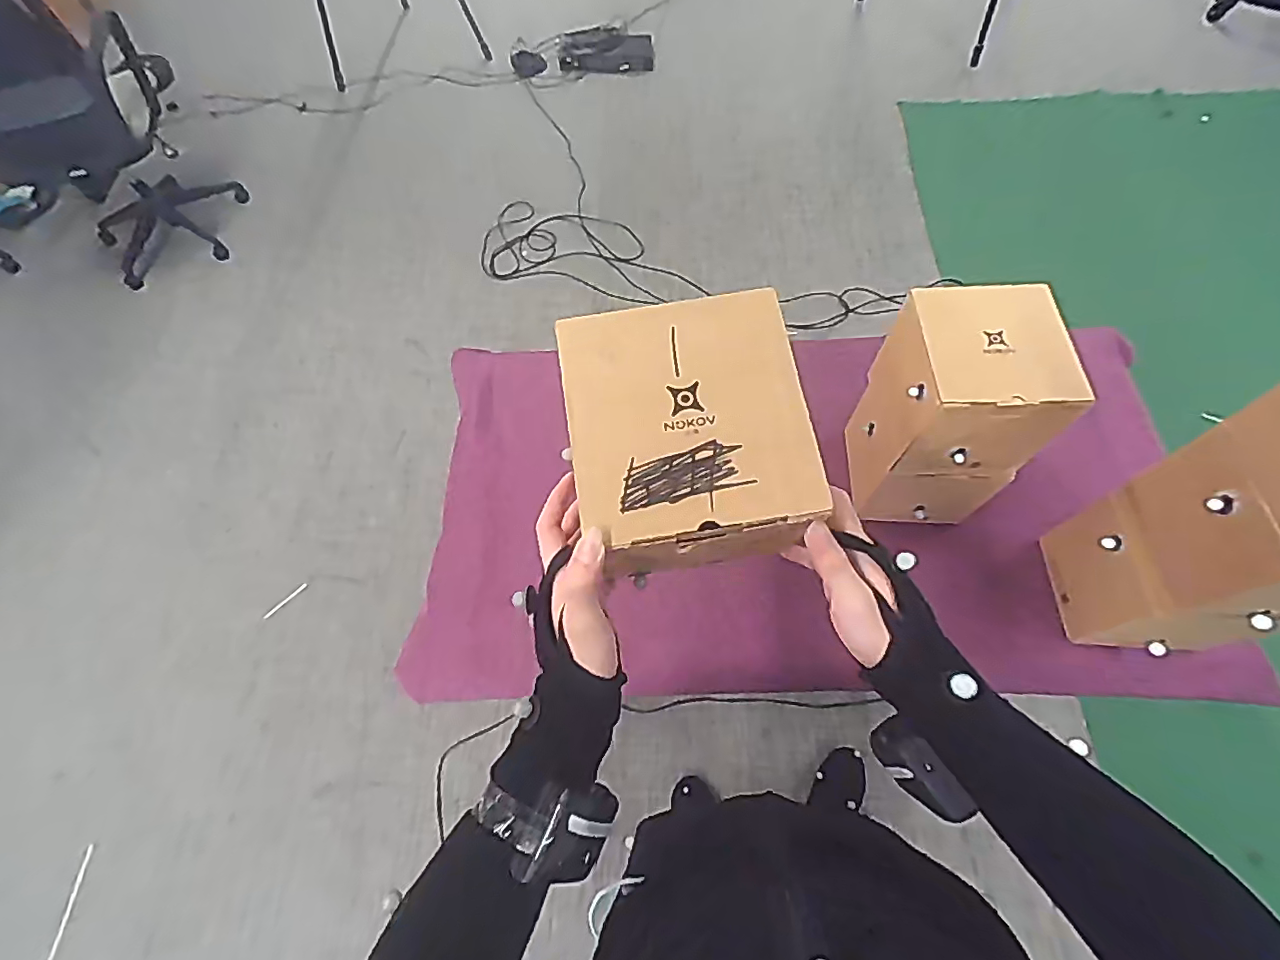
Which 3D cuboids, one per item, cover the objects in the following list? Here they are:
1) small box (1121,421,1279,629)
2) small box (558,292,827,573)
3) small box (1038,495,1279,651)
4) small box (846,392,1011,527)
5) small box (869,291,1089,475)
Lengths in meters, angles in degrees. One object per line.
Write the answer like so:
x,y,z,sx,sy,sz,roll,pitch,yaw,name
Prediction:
0.690,0.054,0.594,0.168,0.176,0.179,1,63,7,small box
0.035,-0.023,0.452,0.168,0.176,0.179,-9,72,-1,small box
0.698,0.133,0.738,0.179,0.176,0.168,2,62,6,small box
0.432,-0.042,0.844,0.168,0.176,0.179,2,63,6,small box
0.415,-0.120,0.702,0.168,0.176,0.179,0,64,3,small box
